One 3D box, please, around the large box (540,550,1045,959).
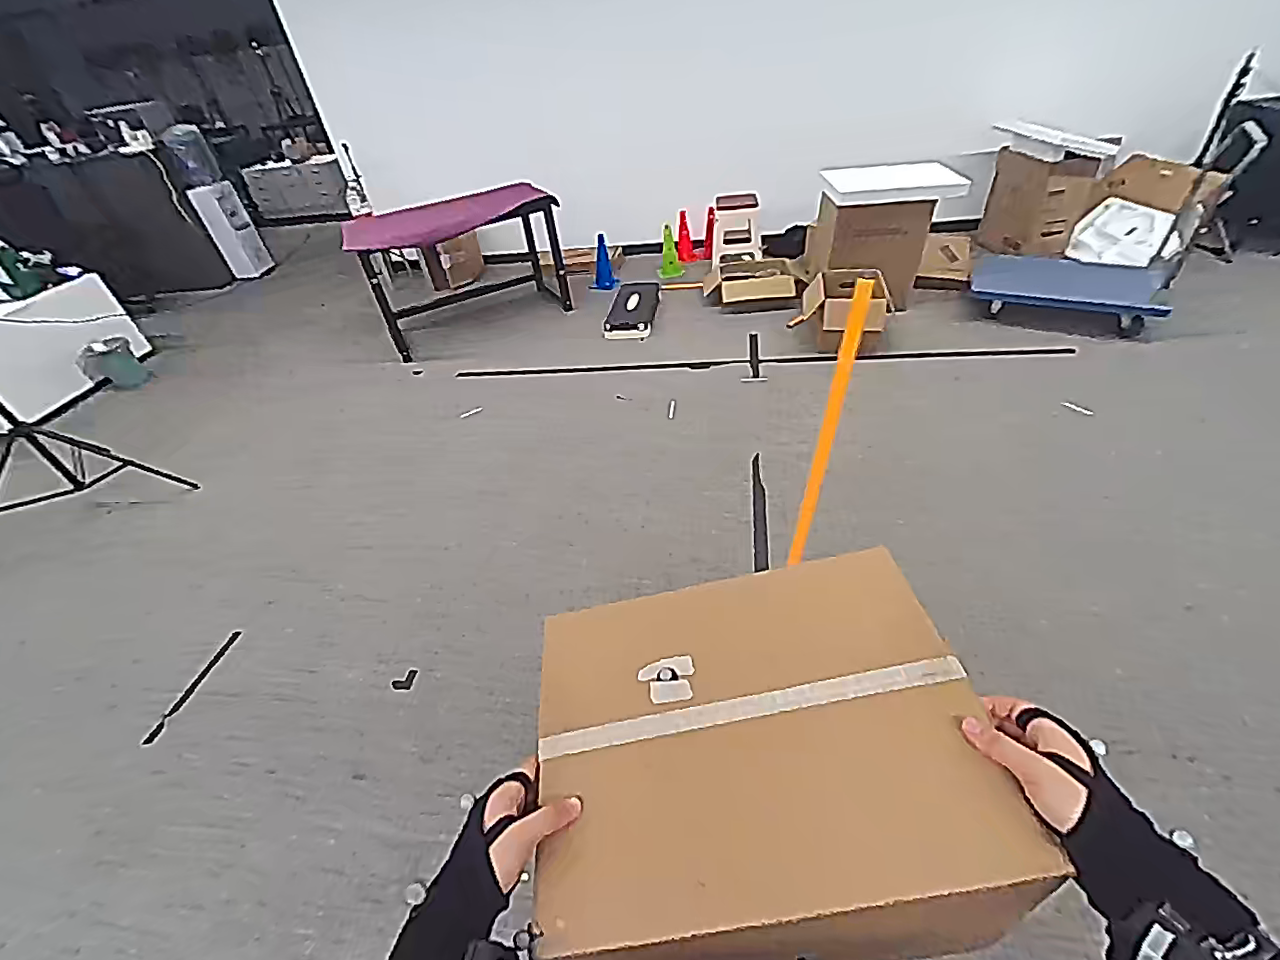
[{"bbox_3d":[0.133,0.334,0.622,0.408,0.320,0.320,-14,39,5],"label":"large box"}]
